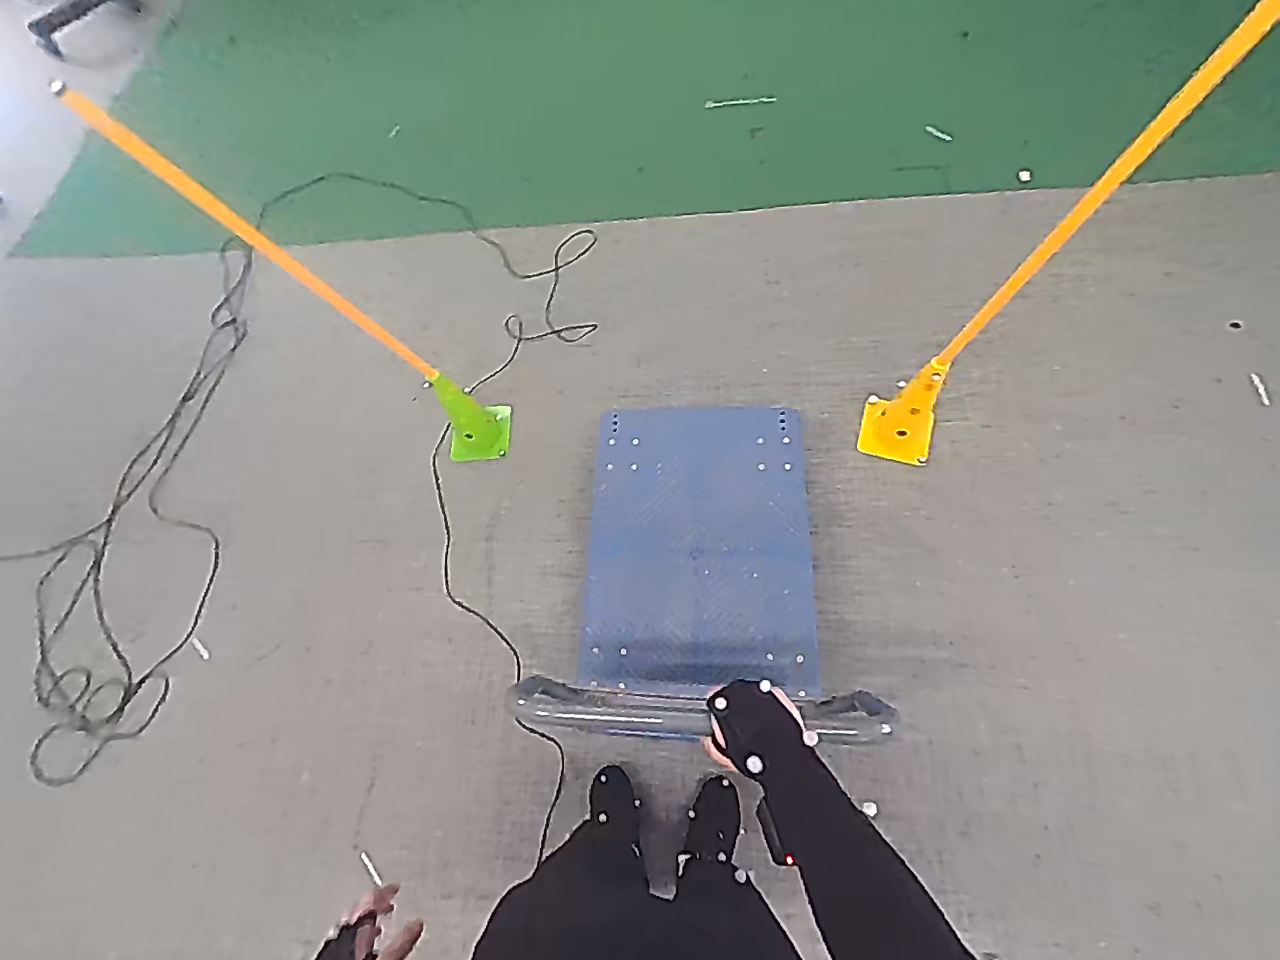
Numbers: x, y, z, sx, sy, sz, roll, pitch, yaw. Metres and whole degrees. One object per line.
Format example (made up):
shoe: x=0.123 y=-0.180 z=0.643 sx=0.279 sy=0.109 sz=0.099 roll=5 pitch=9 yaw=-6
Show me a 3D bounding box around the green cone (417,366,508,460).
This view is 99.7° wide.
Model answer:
green cone: x=-0.567 y=-0.234 z=1.655 sx=0.202 sy=0.368 sz=0.200 roll=-5 pitch=66 yaw=7
